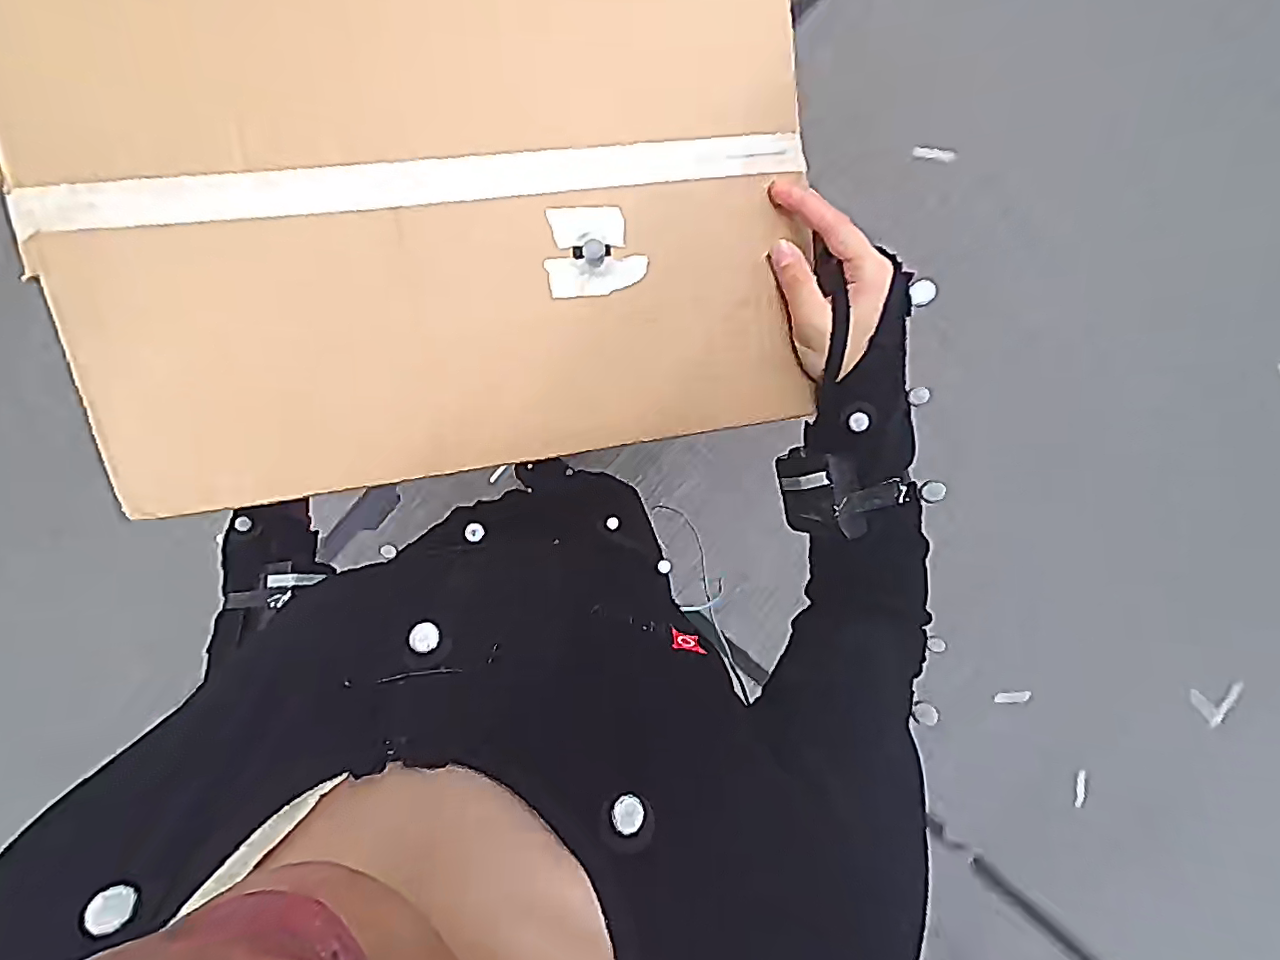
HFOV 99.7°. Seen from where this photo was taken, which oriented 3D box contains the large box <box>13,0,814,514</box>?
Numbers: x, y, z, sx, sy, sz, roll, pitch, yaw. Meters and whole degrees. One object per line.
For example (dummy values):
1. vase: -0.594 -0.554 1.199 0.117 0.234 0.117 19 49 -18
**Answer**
1. large box: -0.124 -0.182 0.452 0.408 0.320 0.320 -9 101 -11
